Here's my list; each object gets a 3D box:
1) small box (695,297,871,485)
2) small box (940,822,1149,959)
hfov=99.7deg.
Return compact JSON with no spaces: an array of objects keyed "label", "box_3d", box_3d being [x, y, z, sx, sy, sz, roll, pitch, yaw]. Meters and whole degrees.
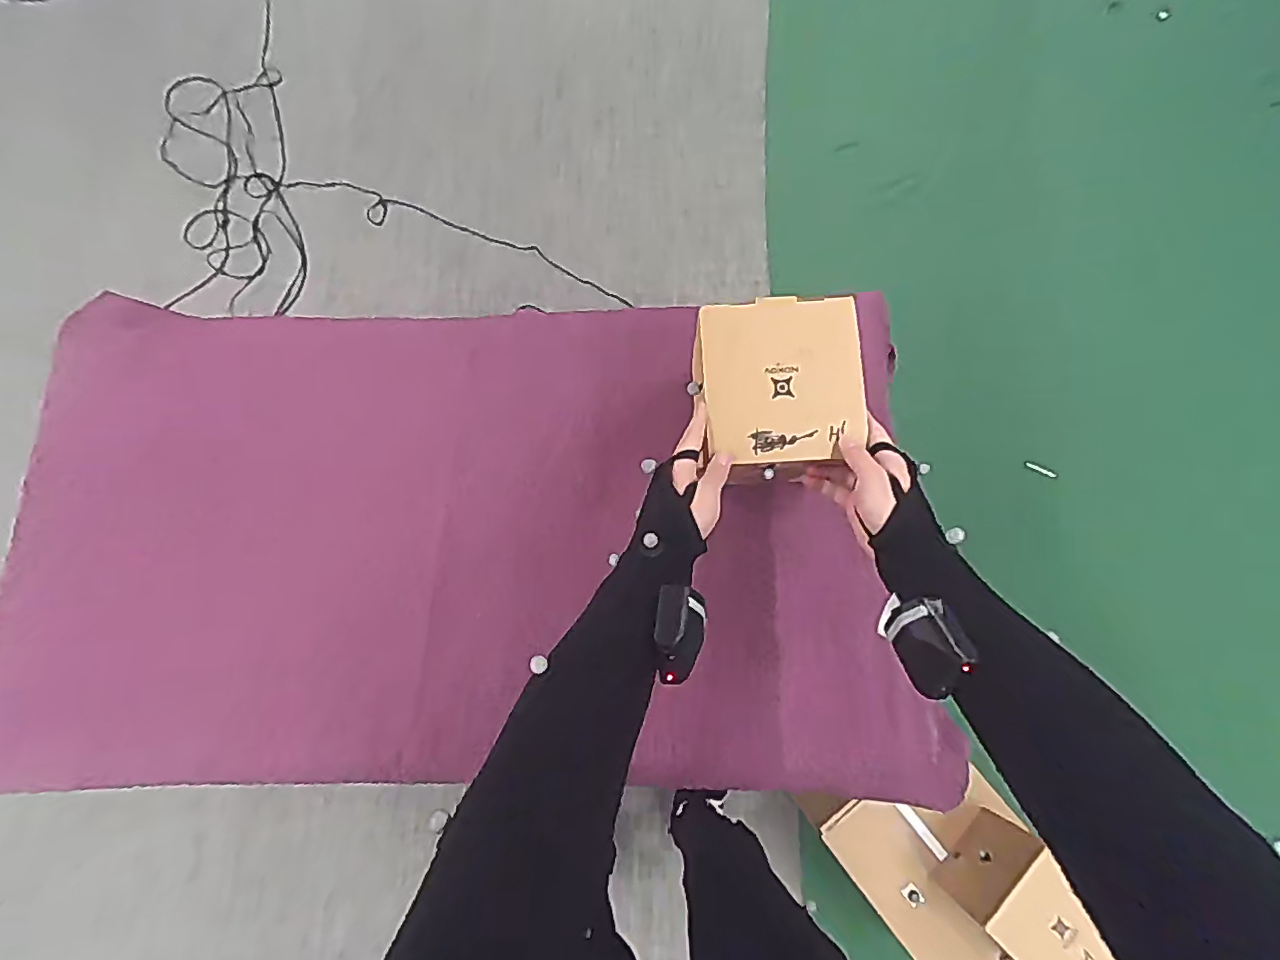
[{"label":"small box","box_3d":[0.155,-0.094,0.645,0.168,0.176,0.179,-3,82,3]},{"label":"small box","box_3d":[0.637,0.697,0.879,0.168,0.176,0.179,-44,79,-9]}]
